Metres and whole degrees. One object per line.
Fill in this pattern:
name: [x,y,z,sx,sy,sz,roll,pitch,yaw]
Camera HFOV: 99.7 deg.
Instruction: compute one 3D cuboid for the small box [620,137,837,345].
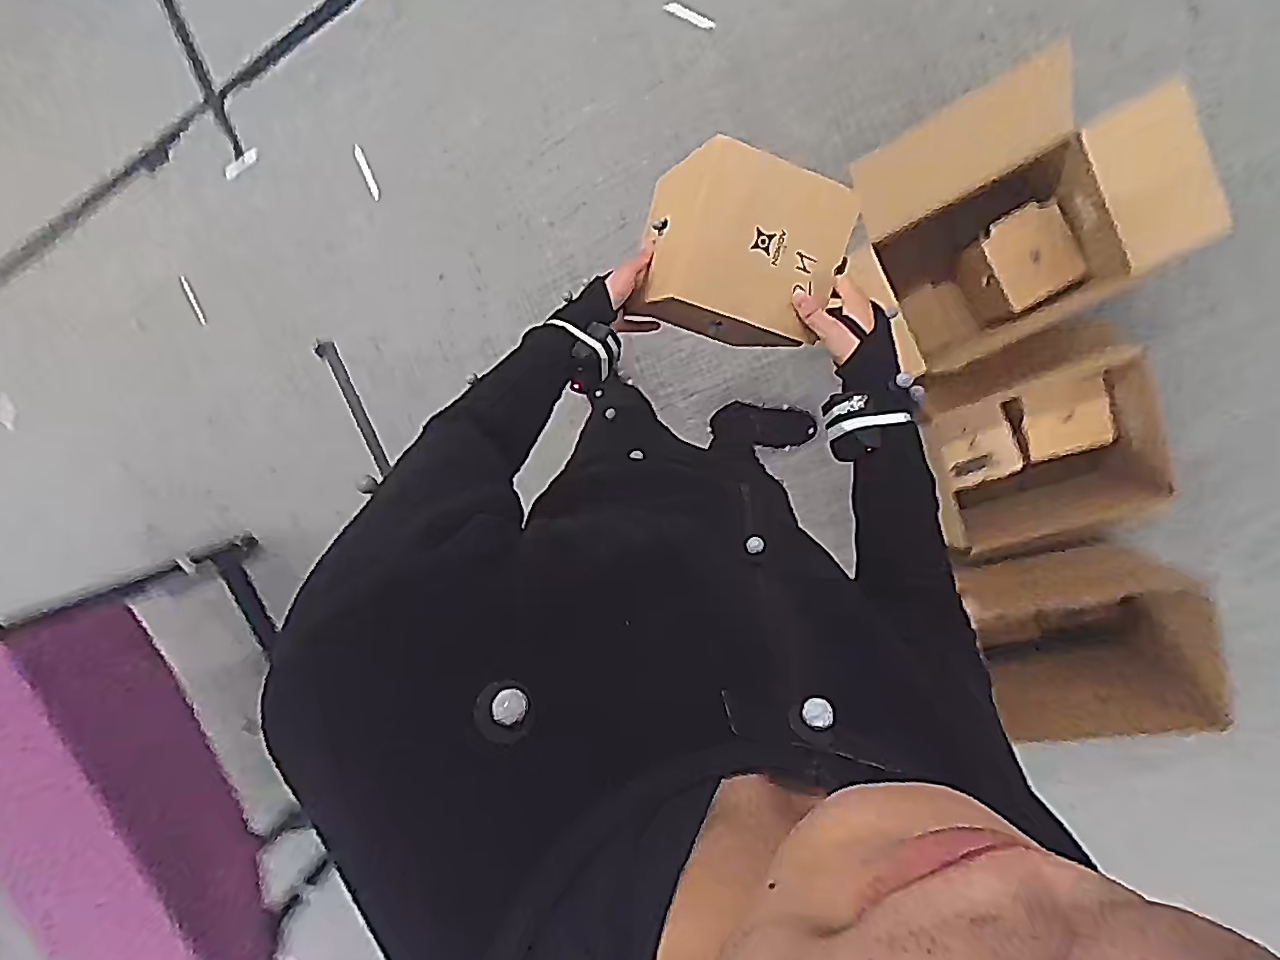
small box: [0.092,-0.264,0.648,0.179,0.176,0.168,12,99,-22]
